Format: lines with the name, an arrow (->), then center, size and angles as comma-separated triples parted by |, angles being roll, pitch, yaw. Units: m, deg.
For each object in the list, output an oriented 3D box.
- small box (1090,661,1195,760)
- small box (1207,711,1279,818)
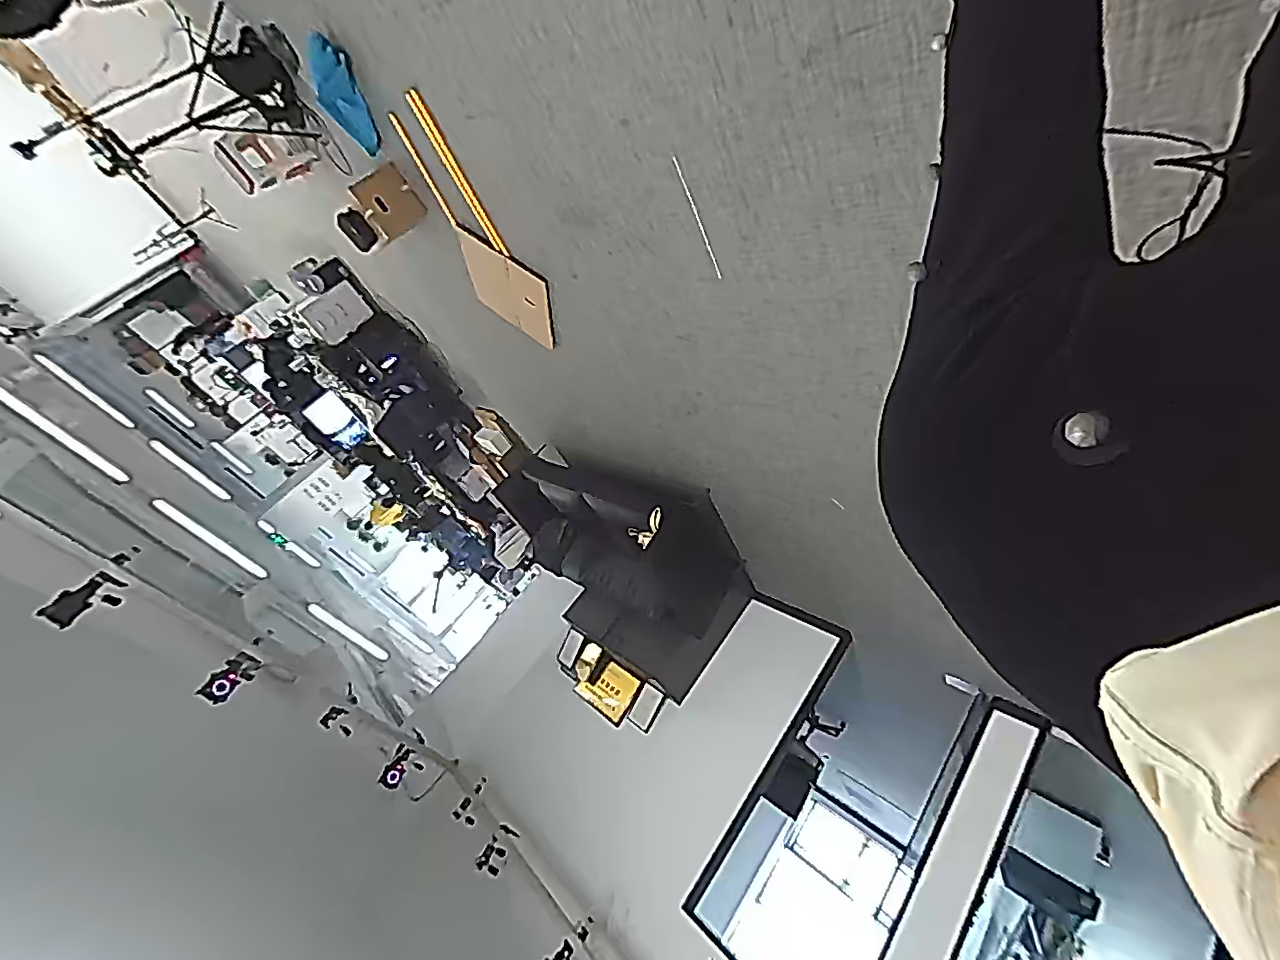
small box -> 1.415, 0.644, 1.525 | 0.168, 0.176, 0.179 | 23, 153, 39
small box -> 1.603, 0.724, 1.369 | 0.168, 0.176, 0.179 | 25, 153, 38
